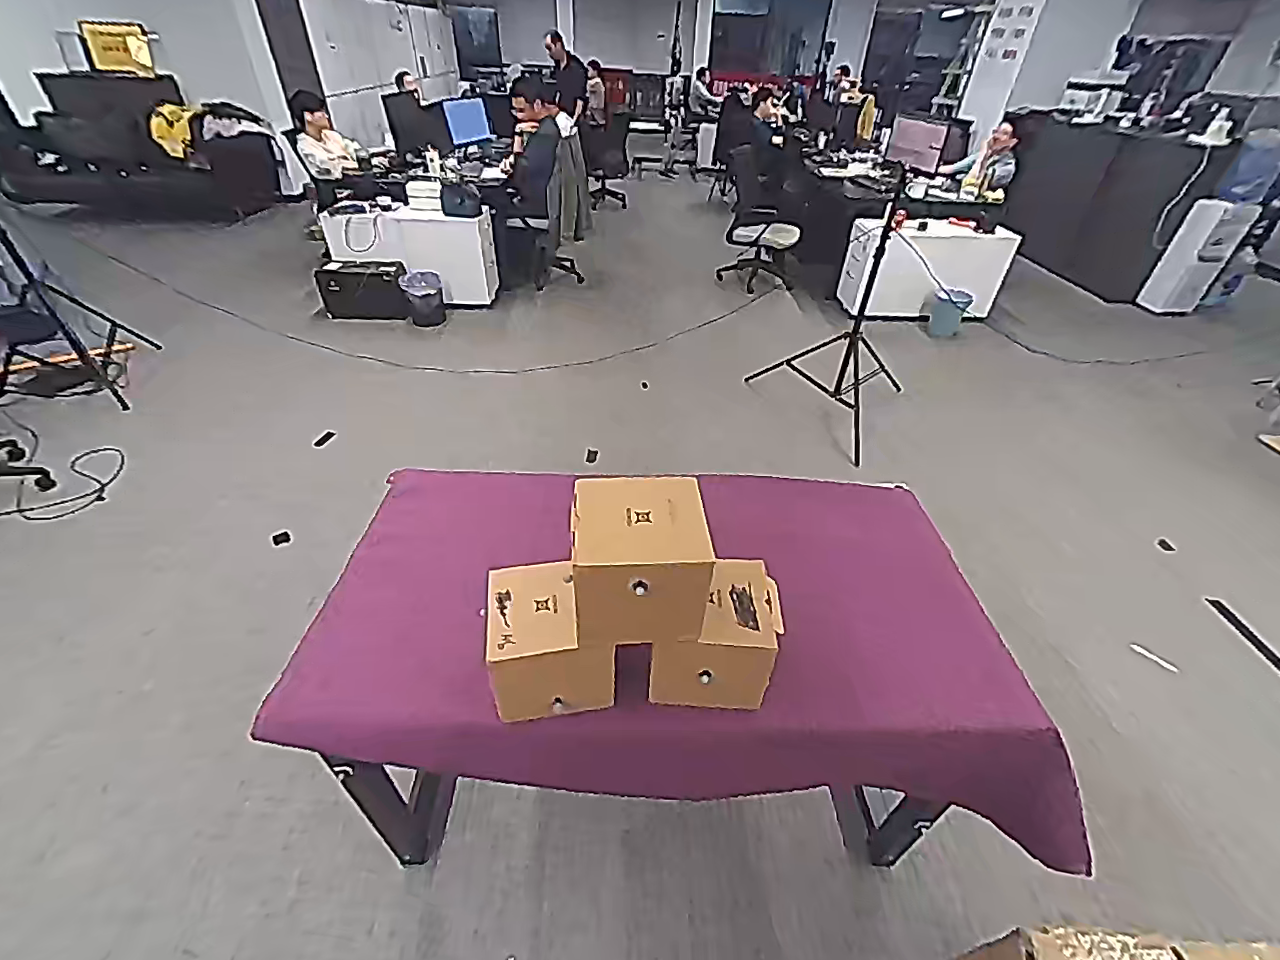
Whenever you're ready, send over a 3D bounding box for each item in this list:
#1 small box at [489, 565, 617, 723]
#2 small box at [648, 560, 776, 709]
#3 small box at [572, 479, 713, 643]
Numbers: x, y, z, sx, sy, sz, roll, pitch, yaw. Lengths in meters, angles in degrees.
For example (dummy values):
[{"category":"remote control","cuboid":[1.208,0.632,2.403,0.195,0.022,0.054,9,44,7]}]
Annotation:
[{"category":"small box","cuboid":[-0.136,0.252,0.845,0.179,0.176,0.168,-4,38,-11]},{"category":"small box","cuboid":[0.107,0.246,0.864,0.179,0.176,0.168,3,38,2]},{"category":"small box","cuboid":[-0.003,0.115,0.763,0.179,0.176,0.168,-1,39,-5]}]
